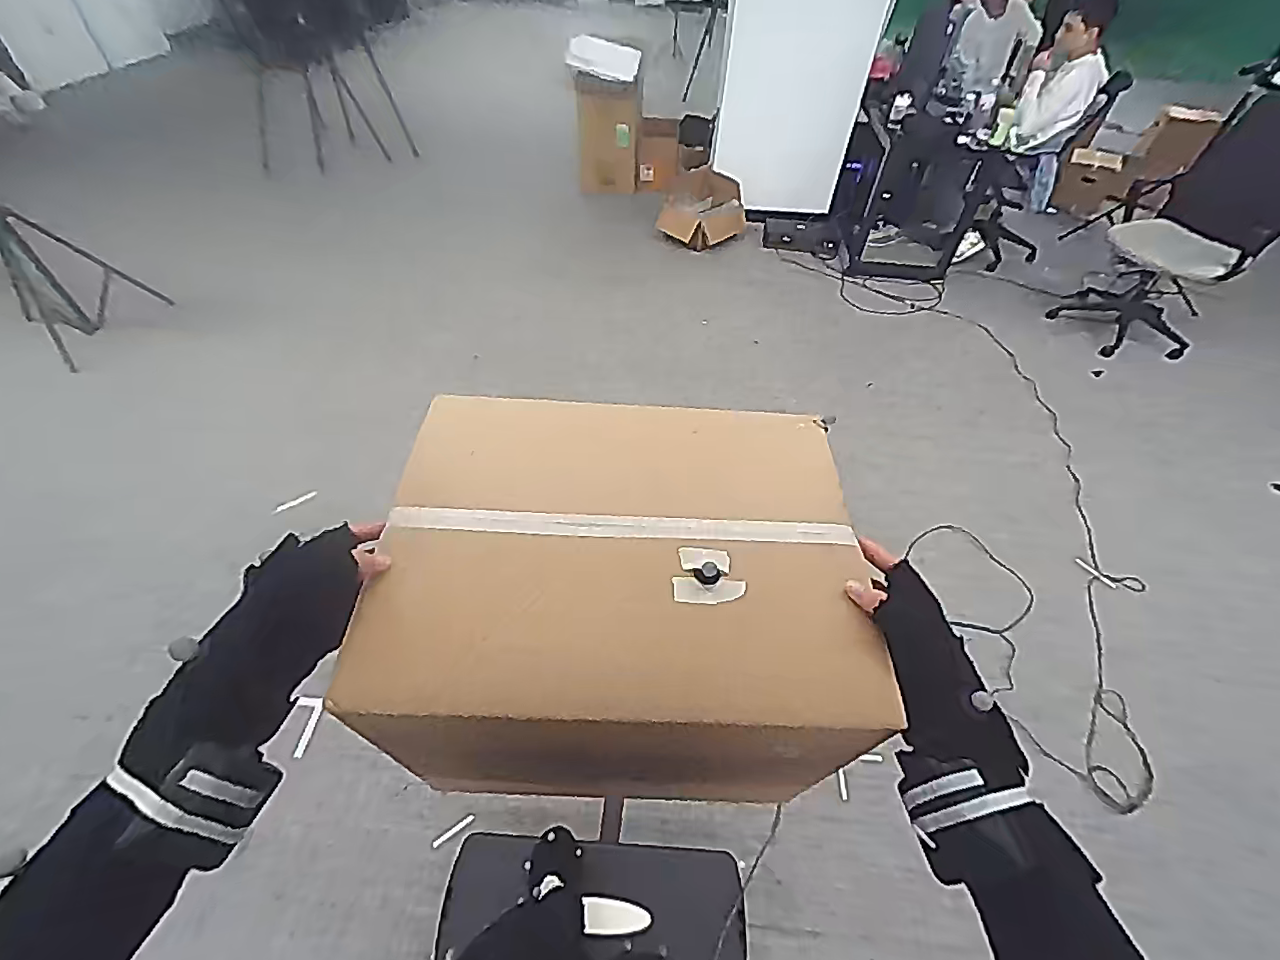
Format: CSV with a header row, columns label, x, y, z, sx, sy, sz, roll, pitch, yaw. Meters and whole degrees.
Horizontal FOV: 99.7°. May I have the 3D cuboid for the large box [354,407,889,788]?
label,x,y,z,sx,sy,sz,roll,pitch,yaw
large box,-0.020,0.141,0.602,0.408,0.320,0.320,3,52,-3
